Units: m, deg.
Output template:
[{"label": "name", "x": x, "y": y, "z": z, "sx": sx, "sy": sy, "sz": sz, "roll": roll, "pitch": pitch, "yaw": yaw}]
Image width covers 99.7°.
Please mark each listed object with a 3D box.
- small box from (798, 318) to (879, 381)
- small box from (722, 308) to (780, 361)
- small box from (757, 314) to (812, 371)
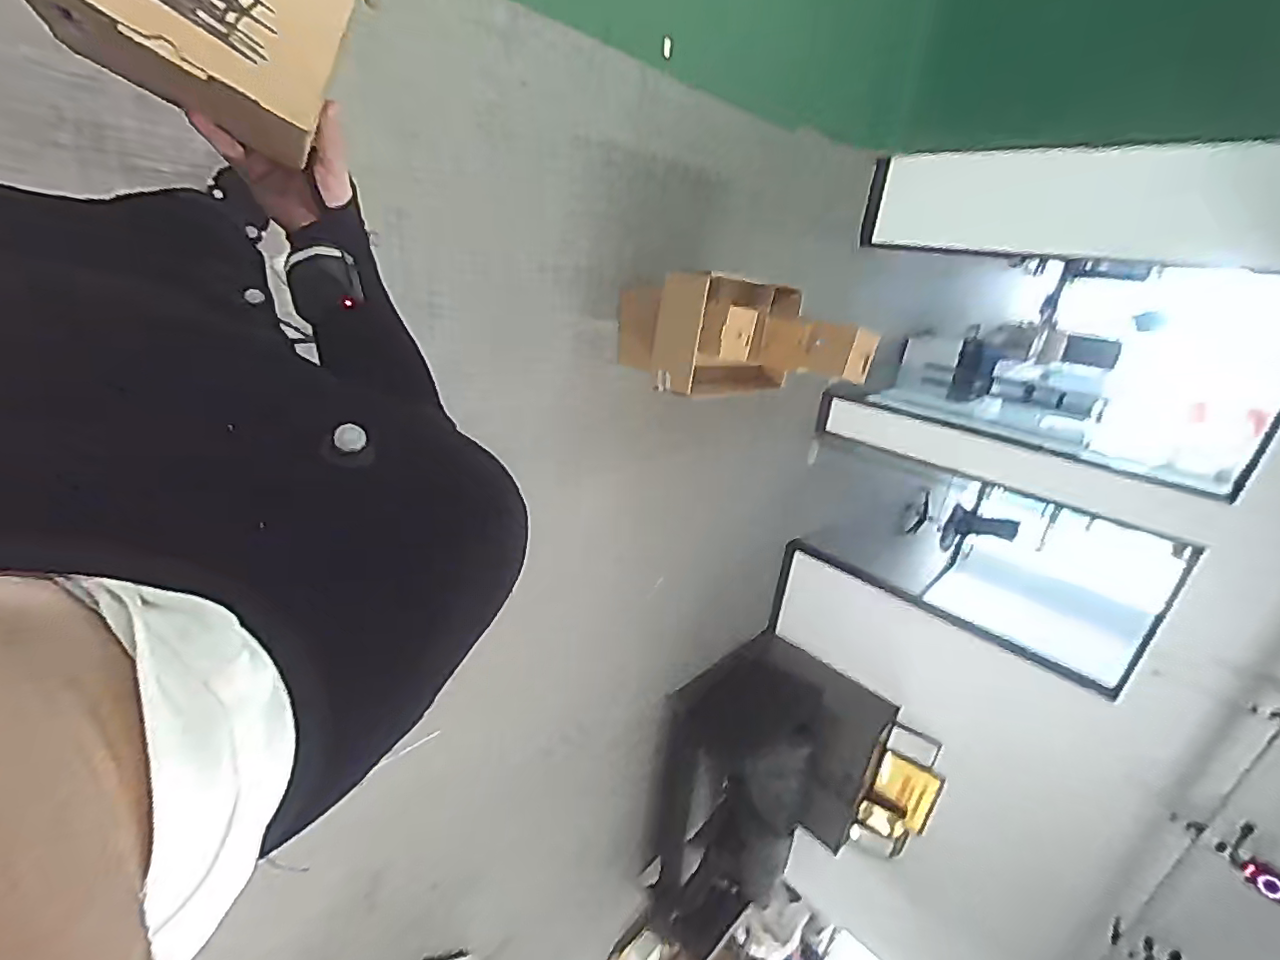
[{"label": "small box", "x": 0.659, "y": -0.436, "z": 1.800, "sx": 0.179, "sy": 0.176, "sz": 0.168, "roll": -1, "pitch": 111, "yaw": -46}, {"label": "small box", "x": 0.431, "y": -0.541, "z": 2.009, "sx": 0.179, "sy": 0.176, "sz": 0.168, "roll": -13, "pitch": 119, "yaw": -43}, {"label": "small box", "x": 0.541, "y": -0.487, "z": 1.904, "sx": 0.179, "sy": 0.176, "sz": 0.168, "roll": -14, "pitch": 120, "yaw": -42}]
